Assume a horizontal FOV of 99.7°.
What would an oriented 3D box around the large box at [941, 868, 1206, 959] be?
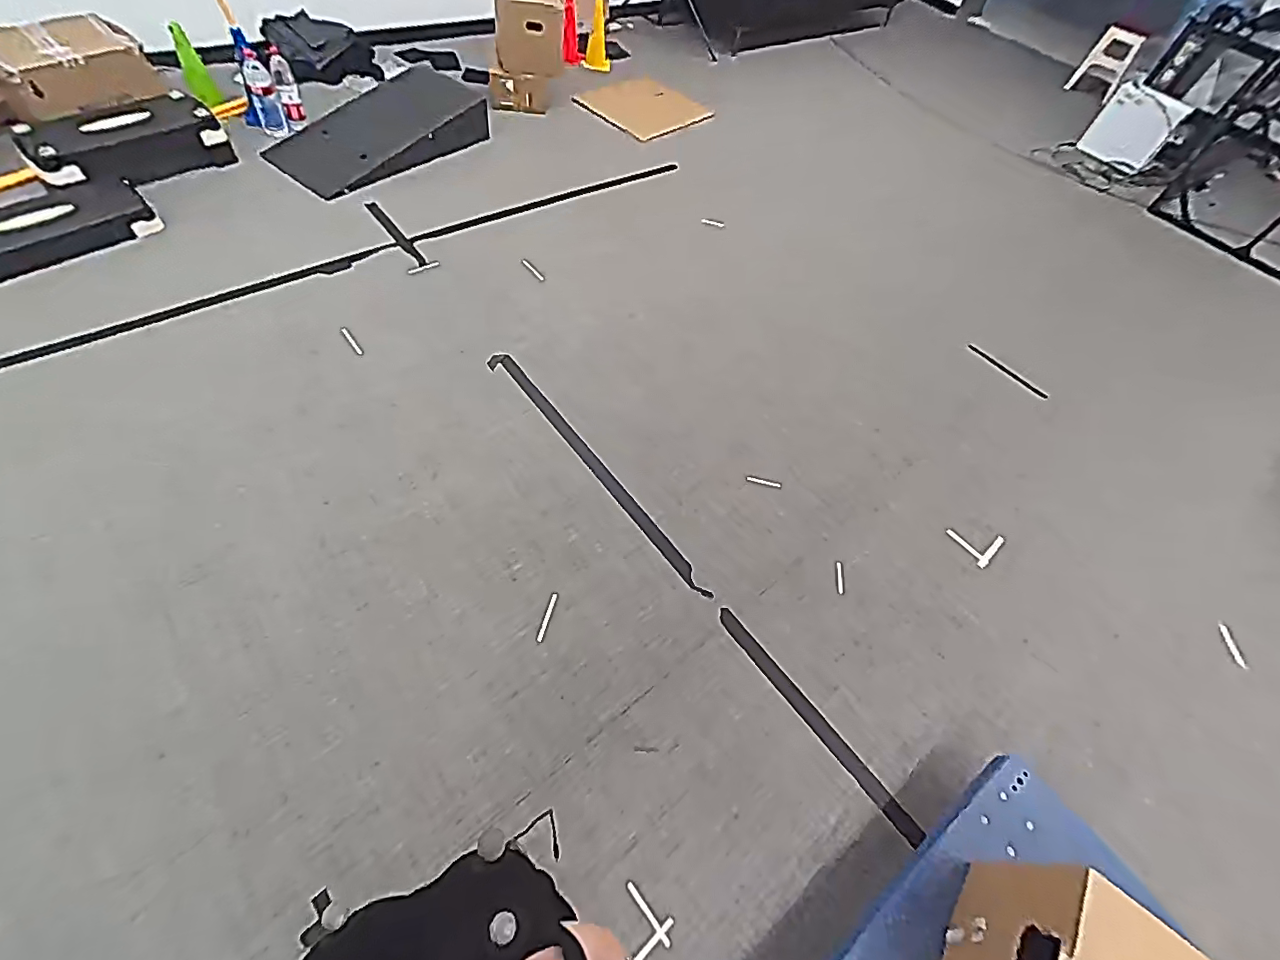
[{"bbox_3d":[0.769,0.923,0.881,0.408,0.320,0.320,37,59,15],"label":"large box"}]
